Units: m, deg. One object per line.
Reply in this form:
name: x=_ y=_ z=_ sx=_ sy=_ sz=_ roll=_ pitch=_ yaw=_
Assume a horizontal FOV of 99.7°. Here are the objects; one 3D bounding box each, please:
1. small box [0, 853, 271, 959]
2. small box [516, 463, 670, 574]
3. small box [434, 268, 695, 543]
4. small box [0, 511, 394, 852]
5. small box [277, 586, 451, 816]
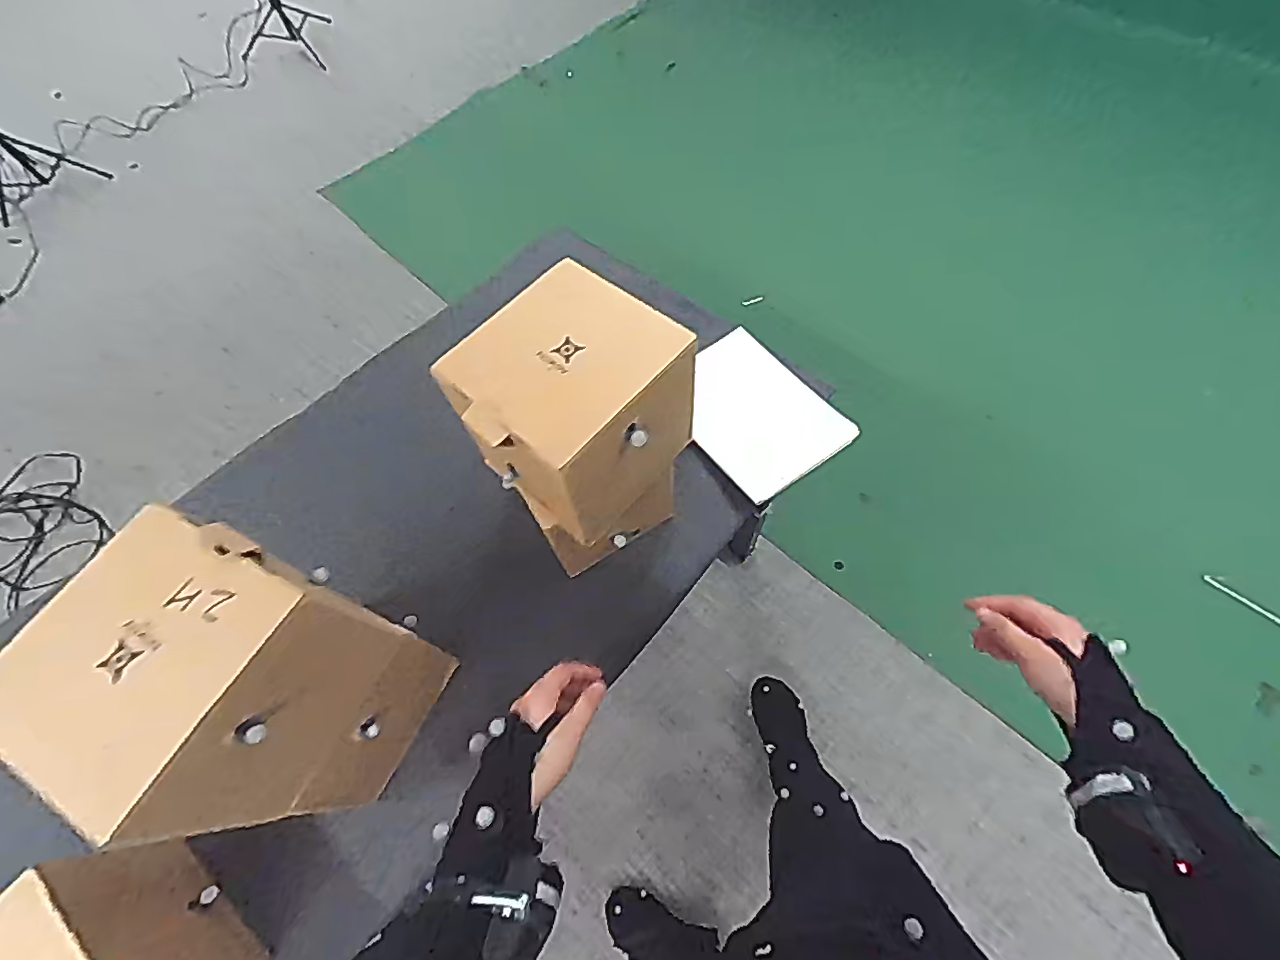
small box: x=-0.490 y=0.471 z=0.481 sx=0.179 sy=0.176 sz=0.168 roll=33 pitch=70 yaw=18
small box: x=-0.075 y=-0.007 z=0.700 sx=0.168 sy=0.176 sz=0.179 roll=-31 pitch=66 yaw=-11
small box: x=-0.063 y=-0.068 z=0.547 sx=0.168 sy=0.176 sz=0.179 roll=37 pitch=72 yaw=20
small box: x=-0.346 y=0.161 z=0.449 sx=0.168 sy=0.176 sz=0.179 roll=25 pitch=67 yaw=14
small box: x=-0.340 y=0.234 z=0.597 sx=0.168 sy=0.176 sz=0.179 roll=22 pitch=66 yaw=13
